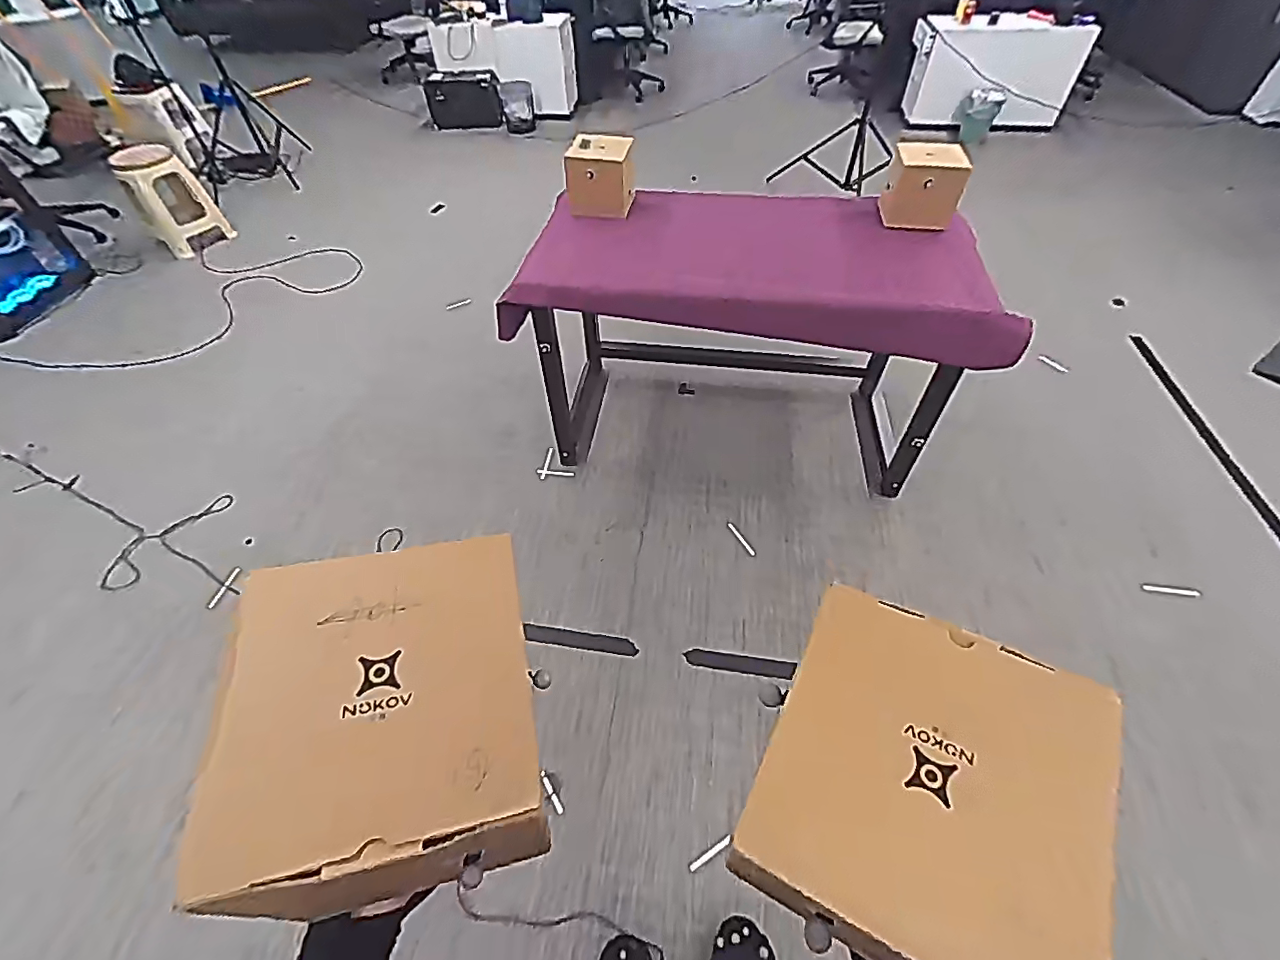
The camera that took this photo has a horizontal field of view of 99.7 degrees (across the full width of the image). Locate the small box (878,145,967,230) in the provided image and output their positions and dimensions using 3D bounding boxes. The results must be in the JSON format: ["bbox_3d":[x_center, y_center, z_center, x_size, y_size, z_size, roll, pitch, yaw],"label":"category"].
[{"bbox_3d":[0.794,-0.834,1.545,0.179,0.176,0.168,7,51,6],"label":"small box"}]

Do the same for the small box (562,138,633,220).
[{"bbox_3d":[-0.122,-0.908,1.635,0.179,0.176,0.168,9,53,7],"label":"small box"}]

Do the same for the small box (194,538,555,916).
[{"bbox_3d":[-0.152,0.168,0.370,0.168,0.176,0.179,-8,51,-15],"label":"small box"}]

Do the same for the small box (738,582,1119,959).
[{"bbox_3d":[0.172,0.206,0.358,0.168,0.176,0.179,19,55,22],"label":"small box"}]
